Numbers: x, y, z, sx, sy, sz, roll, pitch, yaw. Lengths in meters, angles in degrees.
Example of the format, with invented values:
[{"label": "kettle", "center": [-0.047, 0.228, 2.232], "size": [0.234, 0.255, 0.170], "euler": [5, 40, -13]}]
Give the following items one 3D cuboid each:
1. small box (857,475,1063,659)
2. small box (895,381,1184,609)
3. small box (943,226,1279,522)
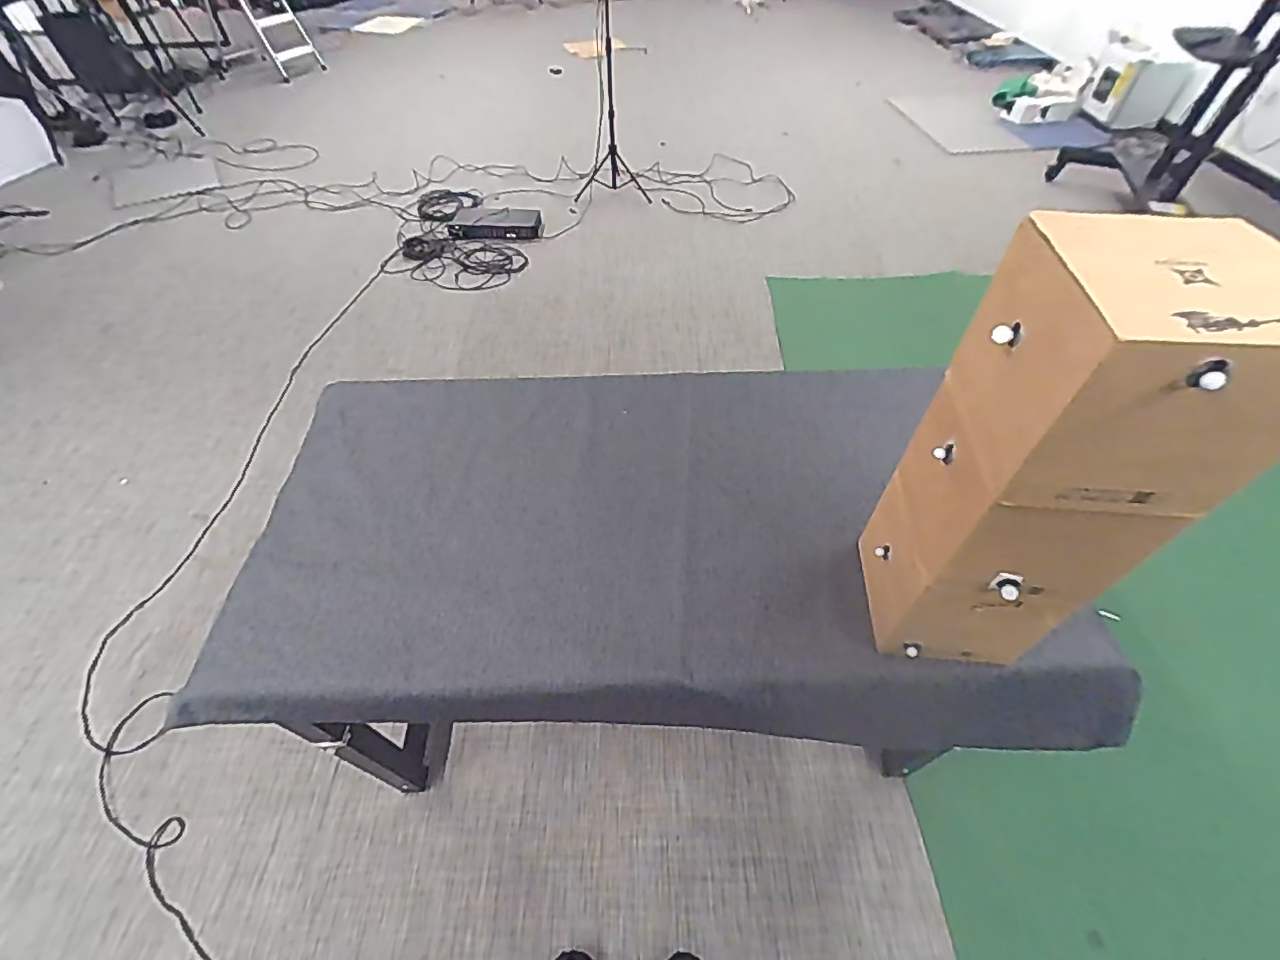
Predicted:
[{"label": "small box", "center": [0.398, 0.116, 0.705], "size": [0.168, 0.176, 0.179], "euler": [4, 49, 5]}, {"label": "small box", "center": [0.393, 0.015, 0.579], "size": [0.168, 0.176, 0.179], "euler": [4, 51, 6]}, {"label": "small box", "center": [0.383, -0.089, 0.452], "size": [0.168, 0.176, 0.179], "euler": [4, 49, 6]}]
